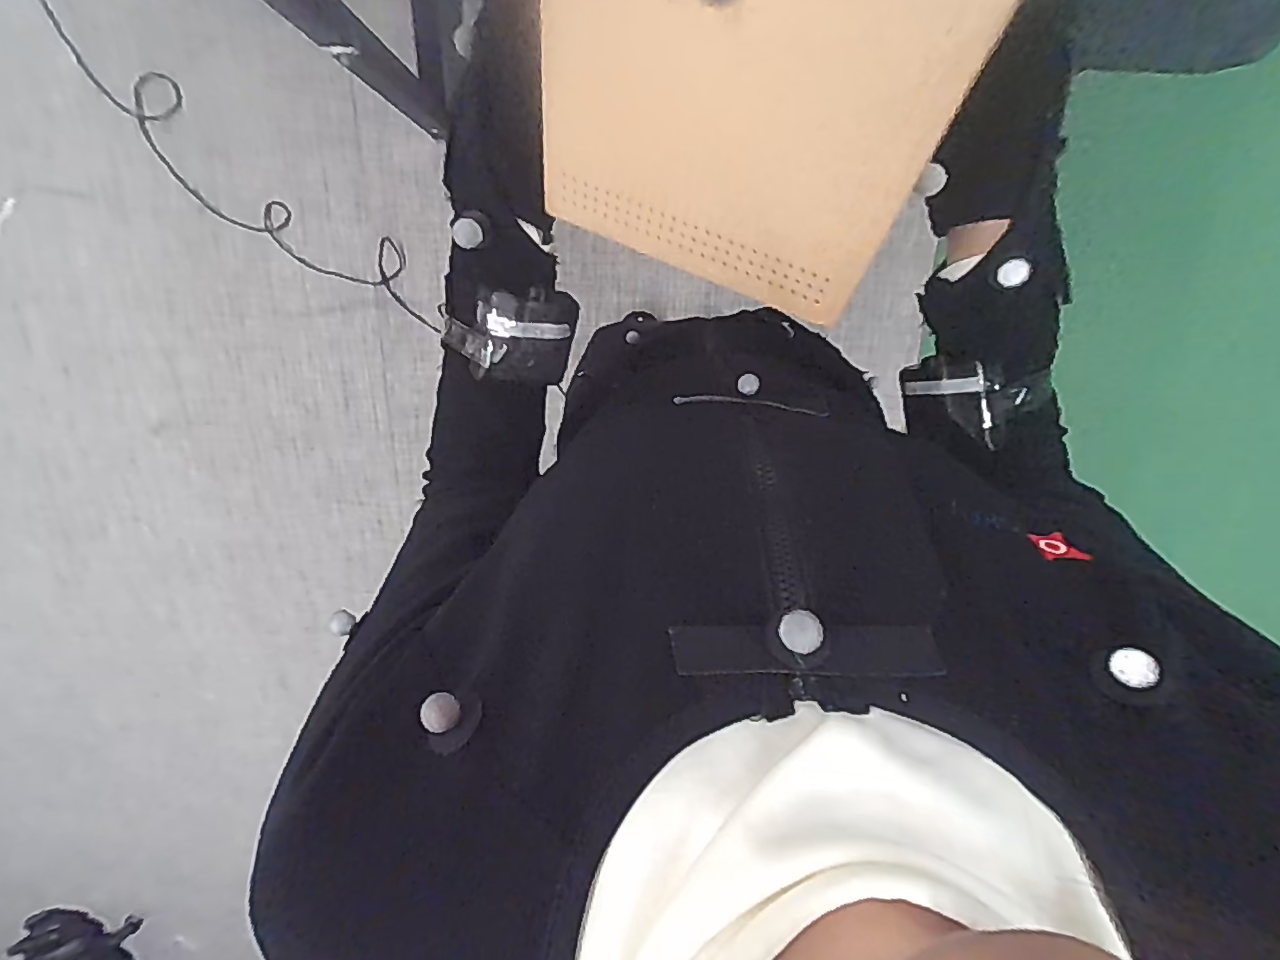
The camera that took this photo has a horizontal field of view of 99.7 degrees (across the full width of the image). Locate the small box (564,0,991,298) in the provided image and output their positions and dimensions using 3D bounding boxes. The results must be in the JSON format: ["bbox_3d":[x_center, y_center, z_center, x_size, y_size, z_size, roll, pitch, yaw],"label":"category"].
[{"bbox_3d":[0.070,-0.226,0.282,0.179,0.168,0.176,24,148,8],"label":"small box"}]
